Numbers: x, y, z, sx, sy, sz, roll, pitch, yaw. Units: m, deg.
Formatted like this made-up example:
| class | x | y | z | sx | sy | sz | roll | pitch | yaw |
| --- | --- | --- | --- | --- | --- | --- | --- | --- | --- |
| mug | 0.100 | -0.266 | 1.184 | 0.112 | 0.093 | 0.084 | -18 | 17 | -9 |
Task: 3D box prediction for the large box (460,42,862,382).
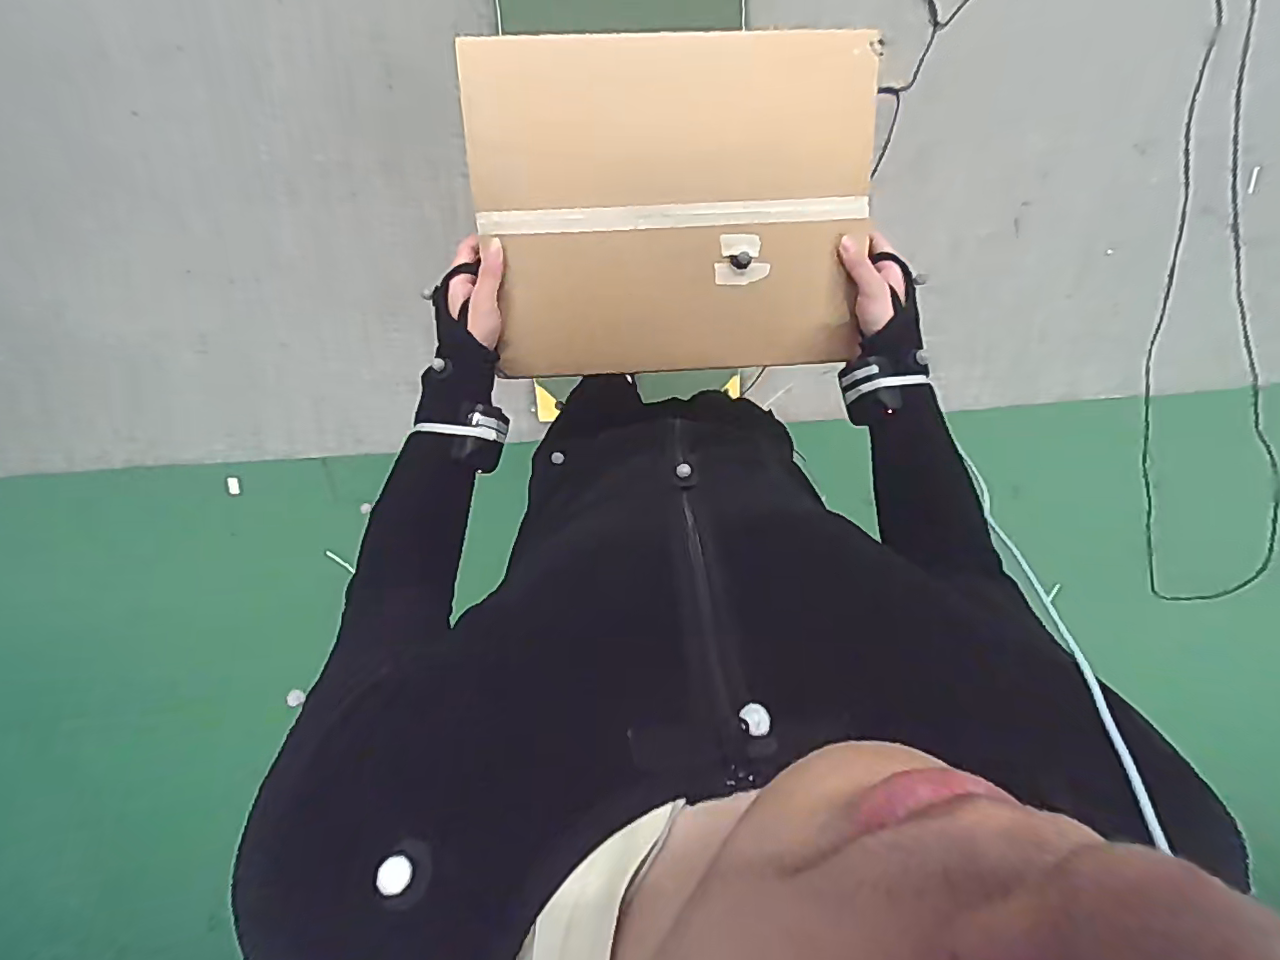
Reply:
| class | x | y | z | sx | sy | sz | roll | pitch | yaw |
| --- | --- | --- | --- | --- | --- | --- | --- | --- | --- |
| large box | 0.021 | -0.313 | 0.710 | 0.408 | 0.320 | 0.320 | -4 | 107 | -3 |
